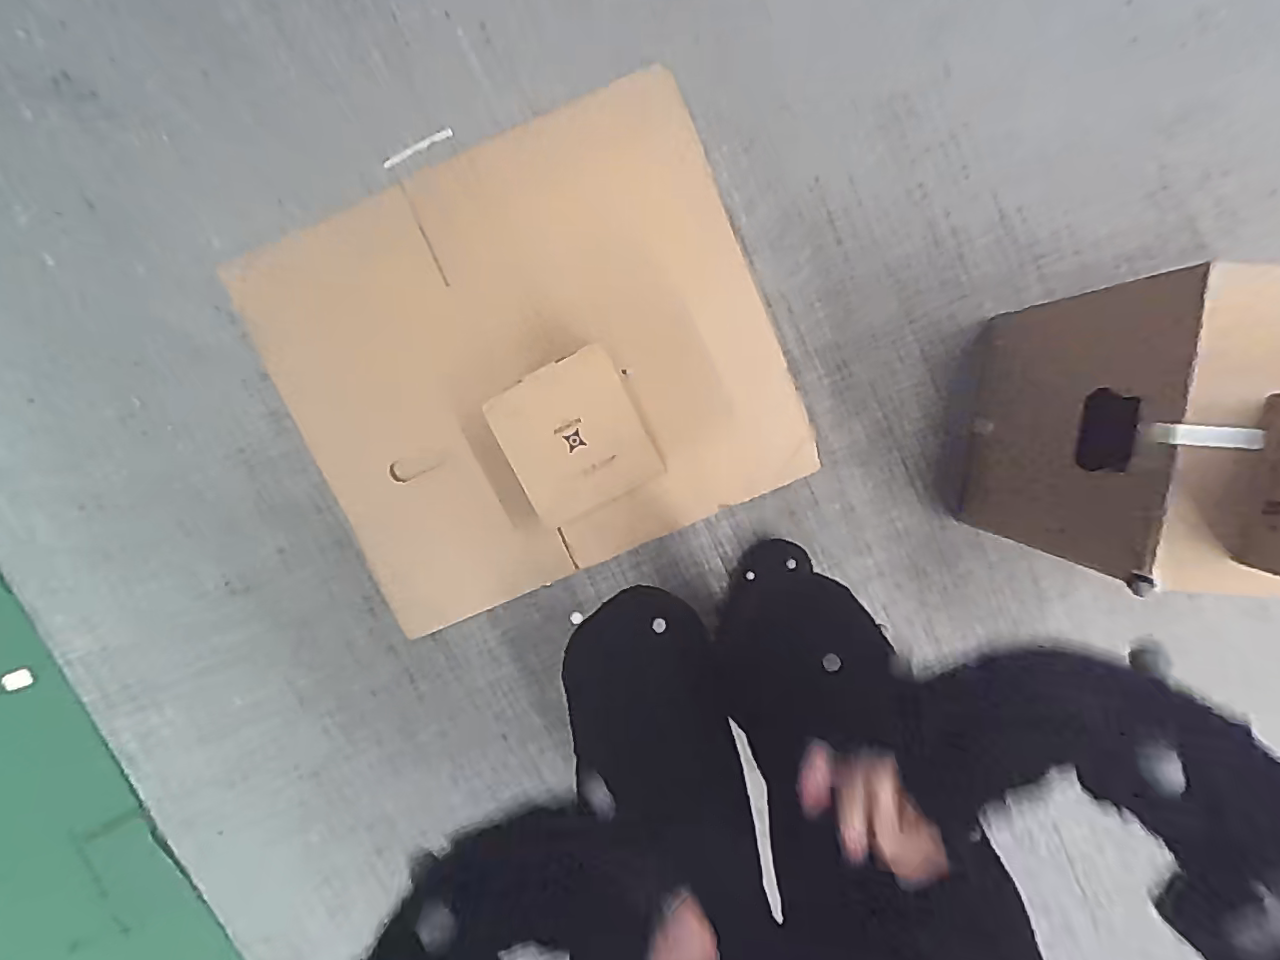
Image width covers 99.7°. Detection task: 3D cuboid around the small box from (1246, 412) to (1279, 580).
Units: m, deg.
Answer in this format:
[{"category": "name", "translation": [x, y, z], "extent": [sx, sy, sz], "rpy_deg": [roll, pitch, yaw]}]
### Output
[{"category": "small box", "translation": [0.656, 0.014, 0.429], "extent": [0.179, 0.176, 0.168], "rpy_deg": [-1, 96, 0]}]

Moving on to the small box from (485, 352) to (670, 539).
[{"category": "small box", "translation": [-0.072, -0.048, 0.719], "extent": [0.168, 0.176, 0.179], "rpy_deg": [-28, 96, 8]}]
